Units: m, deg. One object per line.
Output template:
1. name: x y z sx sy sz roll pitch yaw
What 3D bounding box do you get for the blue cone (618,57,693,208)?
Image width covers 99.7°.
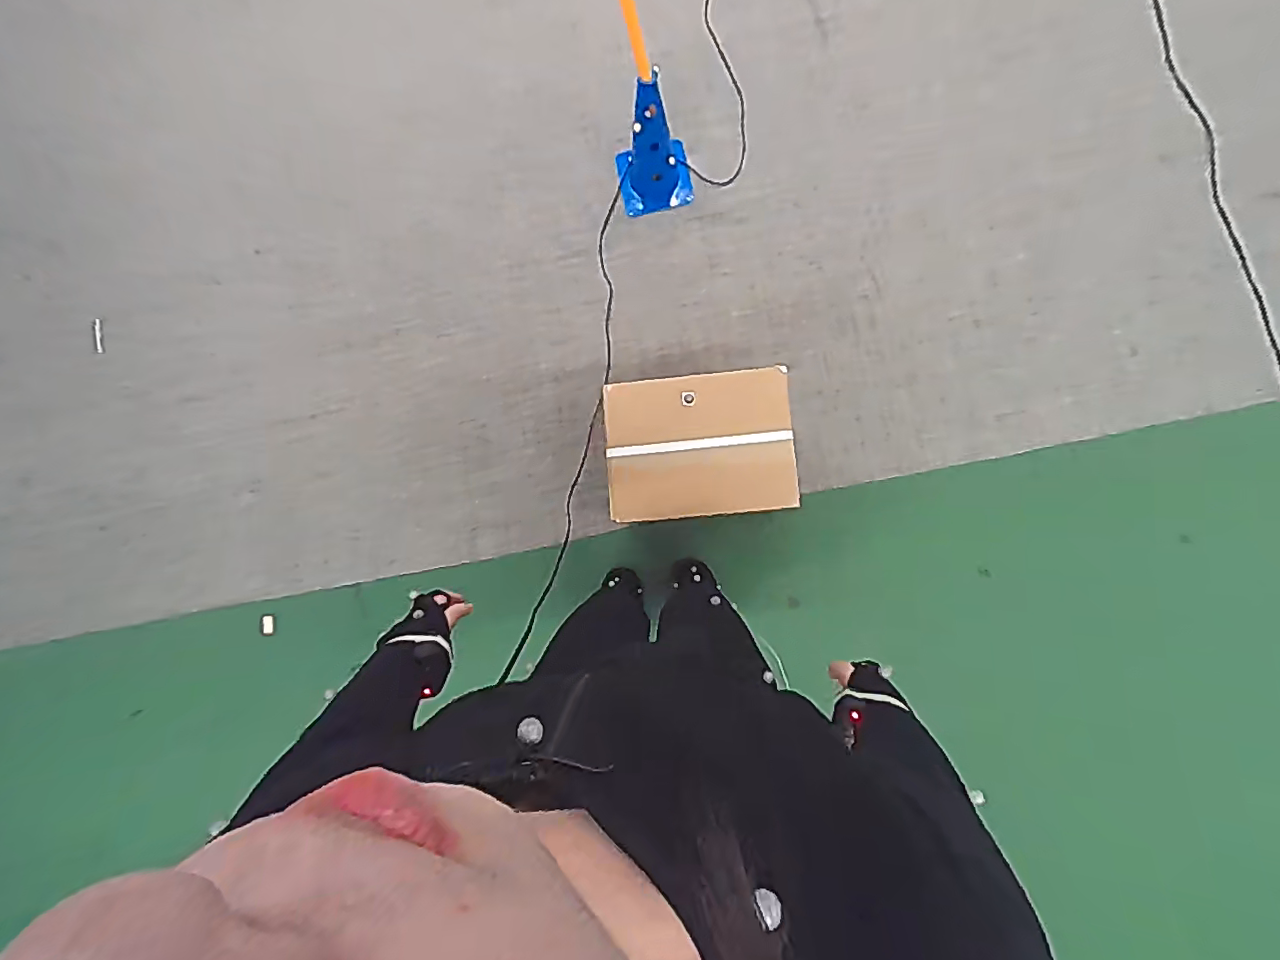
1. blue cone: 0.030 -0.885 1.365 0.193 0.380 0.192 -14 84 4
